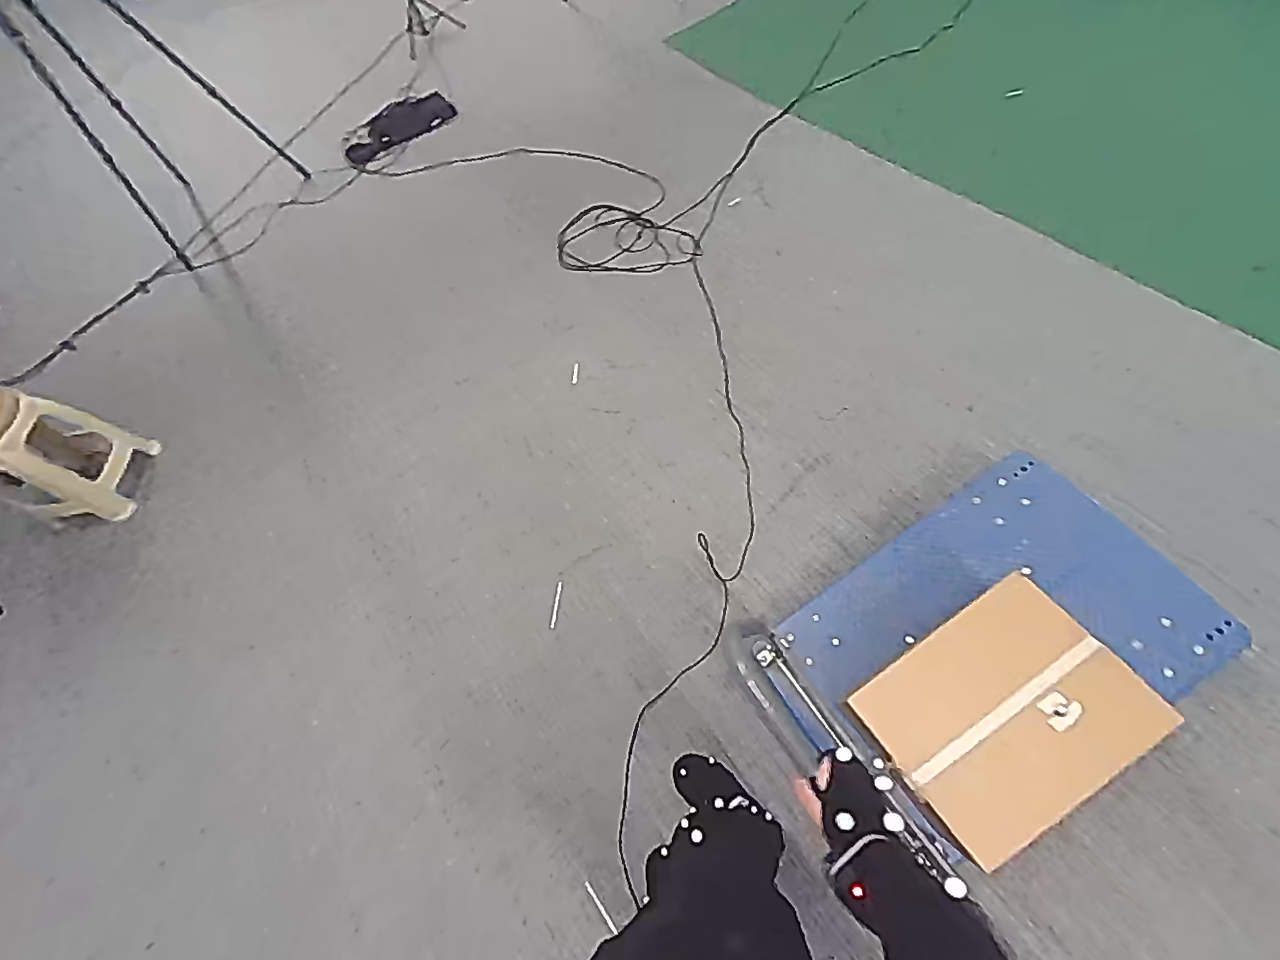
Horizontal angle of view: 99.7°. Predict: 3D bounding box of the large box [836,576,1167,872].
[{"bbox_3d":[0.653,0.463,1.065,0.408,0.320,0.320,-36,63,-3],"label":"large box"}]
